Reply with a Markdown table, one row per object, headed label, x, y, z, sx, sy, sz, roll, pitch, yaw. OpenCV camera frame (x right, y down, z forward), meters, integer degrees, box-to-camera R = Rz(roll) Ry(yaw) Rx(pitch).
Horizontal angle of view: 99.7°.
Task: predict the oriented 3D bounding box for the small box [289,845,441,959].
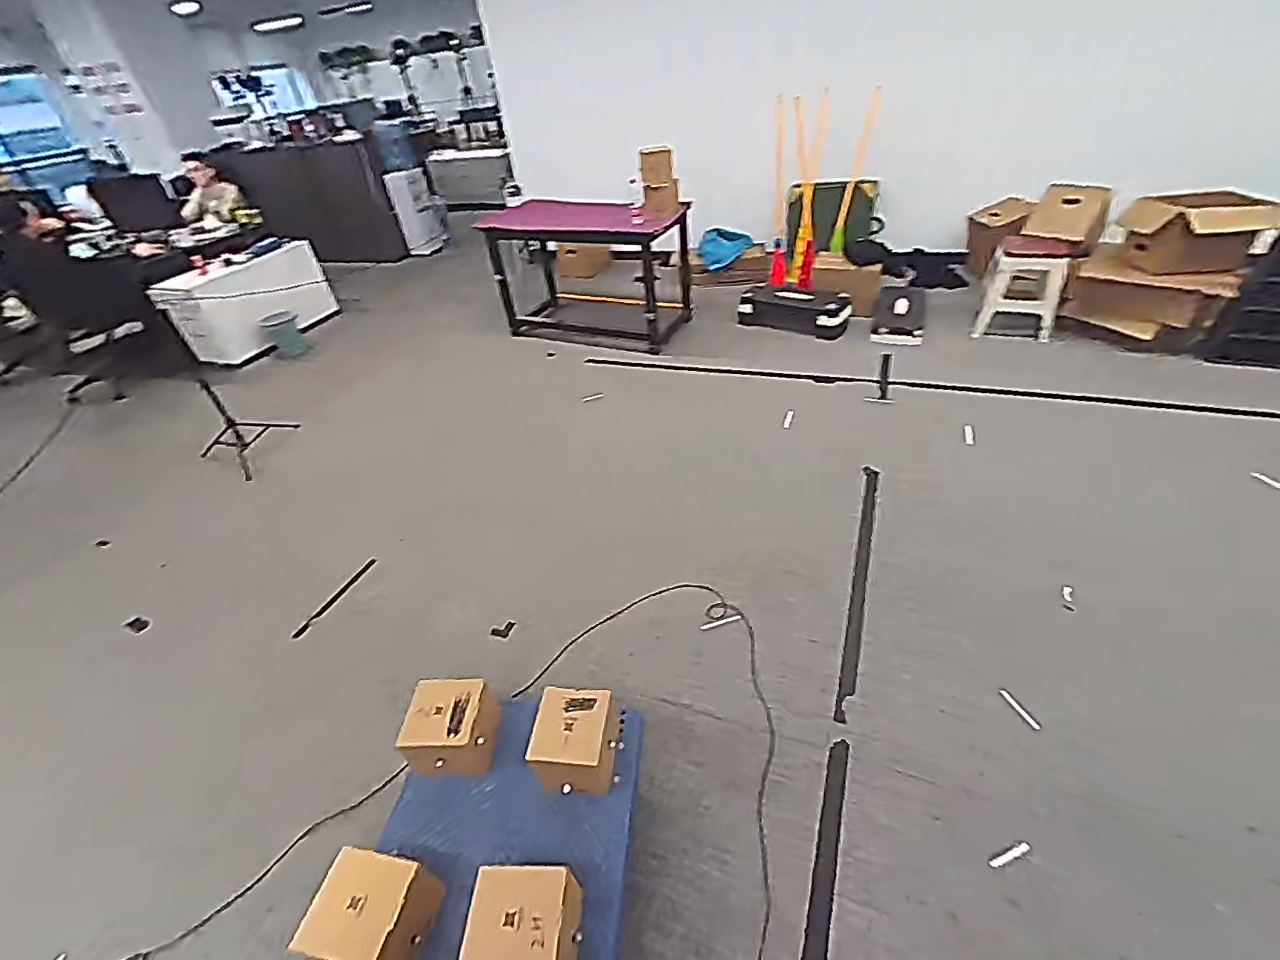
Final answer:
| label | x | y | z | sx | sy | sz | roll | pitch | yaw |
| --- | --- | --- | --- | --- | --- | --- | --- | --- | --- |
| small box | -0.524 | 0.851 | 1.058 | 0.179 | 0.176 | 0.168 | 4 | 40 | 12 |

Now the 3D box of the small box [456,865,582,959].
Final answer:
| label | x | y | z | sx | sy | sz | roll | pitch | yaw |
| --- | --- | --- | --- | --- | --- | --- | --- | --- | --- |
| small box | -0.218 | 0.847 | 1.013 | 0.179 | 0.176 | 0.168 | -3 | 39 | 6 |

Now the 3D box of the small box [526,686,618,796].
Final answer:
| label | x | y | z | sx | sy | sz | roll | pitch | yaw |
| --- | --- | --- | --- | --- | --- | --- | --- | --- | --- |
| small box | -0.152 | 0.618 | 1.285 | 0.168 | 0.176 | 0.179 | 0 | 41 | 10 |
